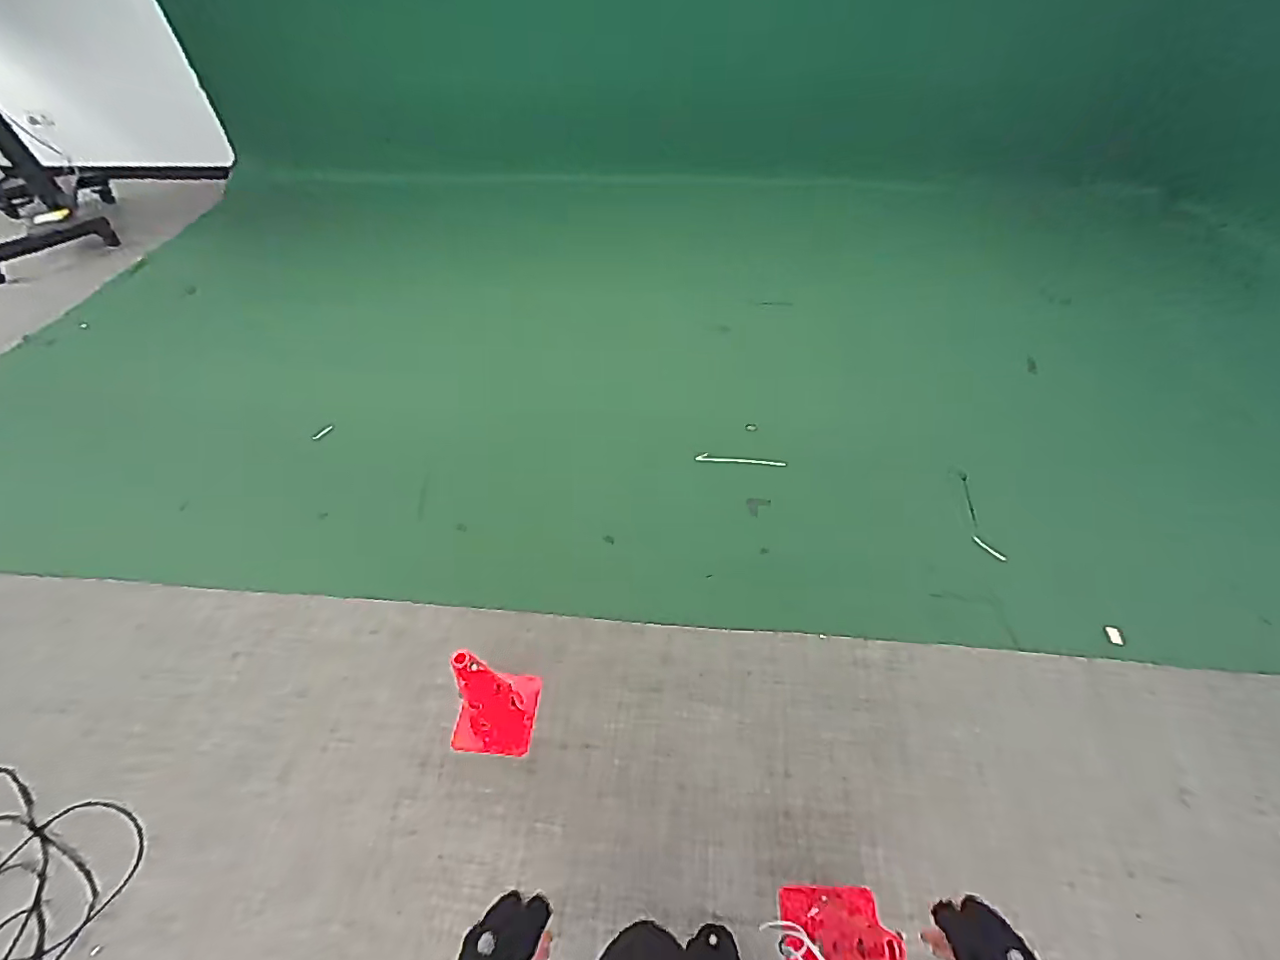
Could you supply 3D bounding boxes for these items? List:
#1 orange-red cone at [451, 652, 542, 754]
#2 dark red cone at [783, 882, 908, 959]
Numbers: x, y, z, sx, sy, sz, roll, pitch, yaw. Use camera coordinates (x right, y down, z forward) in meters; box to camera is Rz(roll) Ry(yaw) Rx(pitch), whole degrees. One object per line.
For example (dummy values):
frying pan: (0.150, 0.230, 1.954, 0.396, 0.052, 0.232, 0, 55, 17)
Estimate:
orange-red cone: (-0.374, 0.496, 1.282, 0.198, 0.360, 0.199, 3, 51, 6)
dark red cone: (0.391, 0.815, 0.951, 0.202, 0.394, 0.201, -1, 48, 1)
